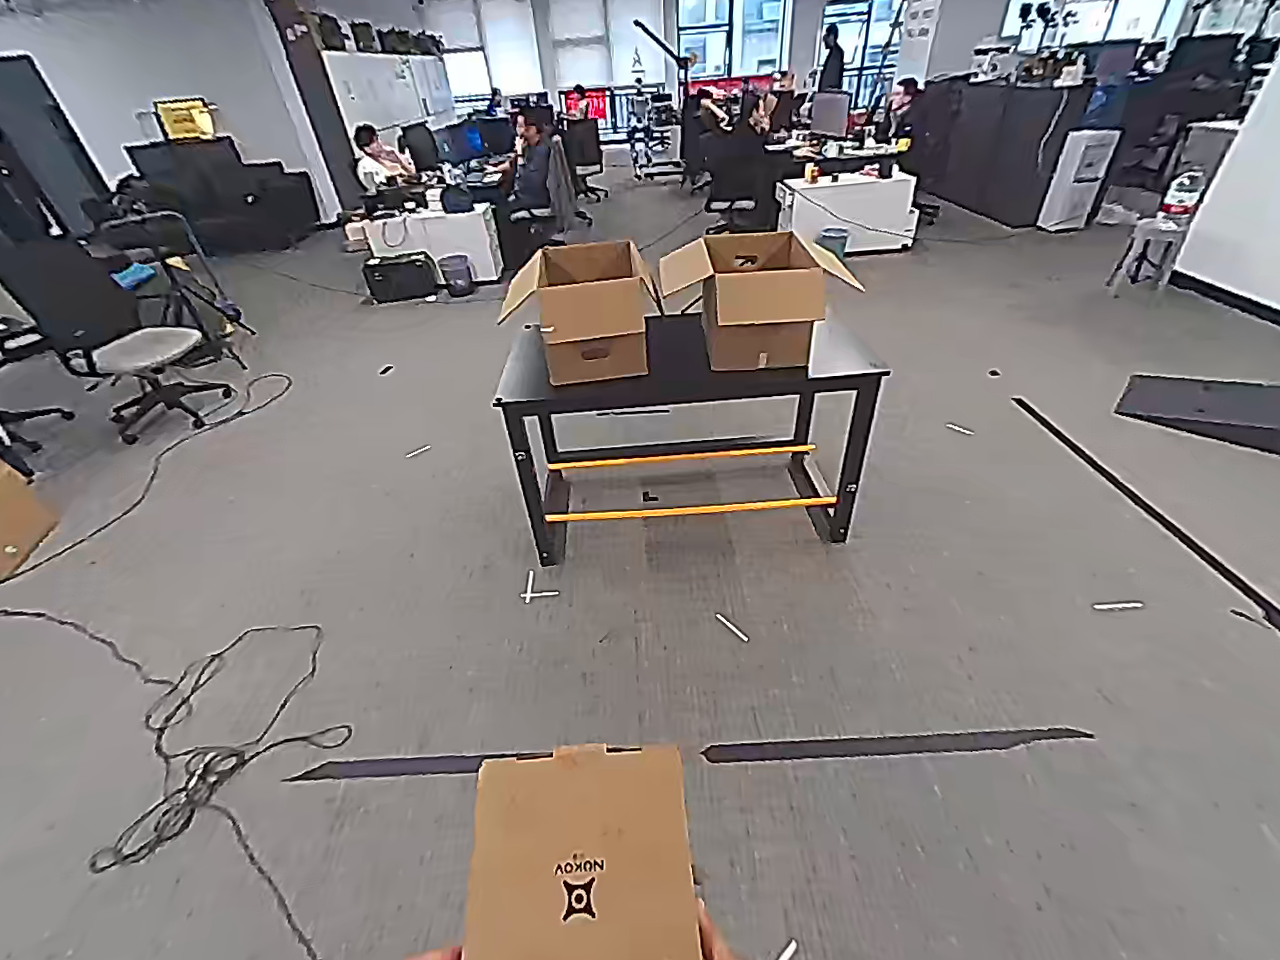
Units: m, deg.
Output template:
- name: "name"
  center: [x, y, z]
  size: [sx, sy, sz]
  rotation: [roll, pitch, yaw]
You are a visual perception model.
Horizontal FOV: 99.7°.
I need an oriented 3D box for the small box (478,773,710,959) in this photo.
- name: "small box"
  center: [-0.032, 0.366, 0.457]
  size: [0.168, 0.176, 0.179]
  rotation: [-4, 52, -1]
